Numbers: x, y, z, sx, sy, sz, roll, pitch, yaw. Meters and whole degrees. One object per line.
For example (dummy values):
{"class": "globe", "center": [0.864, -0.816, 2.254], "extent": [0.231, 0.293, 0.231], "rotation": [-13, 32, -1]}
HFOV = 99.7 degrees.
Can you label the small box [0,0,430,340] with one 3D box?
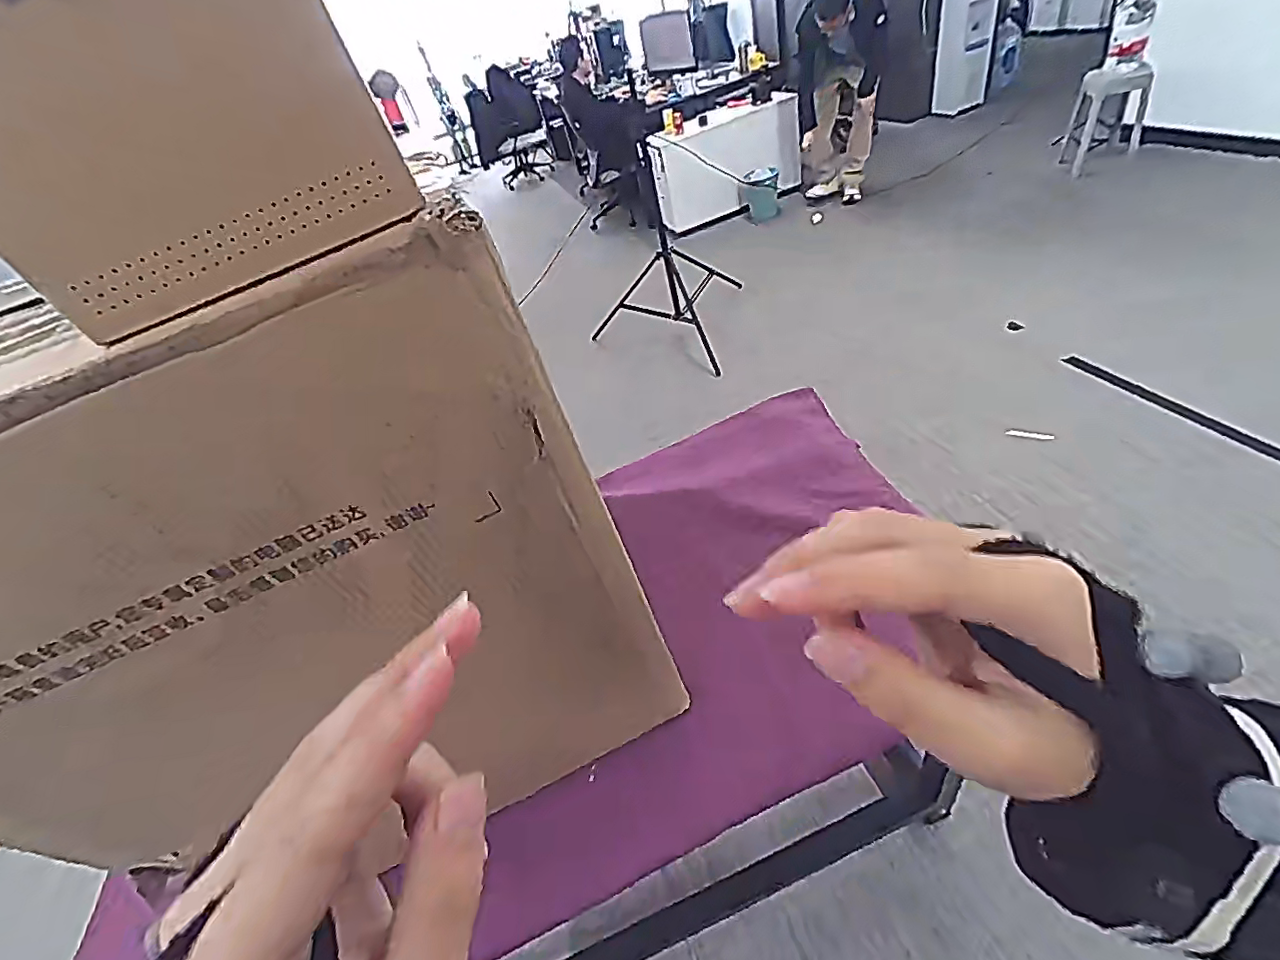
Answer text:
{"class": "small box", "center": [-0.238, -0.199, 0.280], "extent": [0.179, 0.176, 0.168], "rotation": [-27, 42, -7]}
